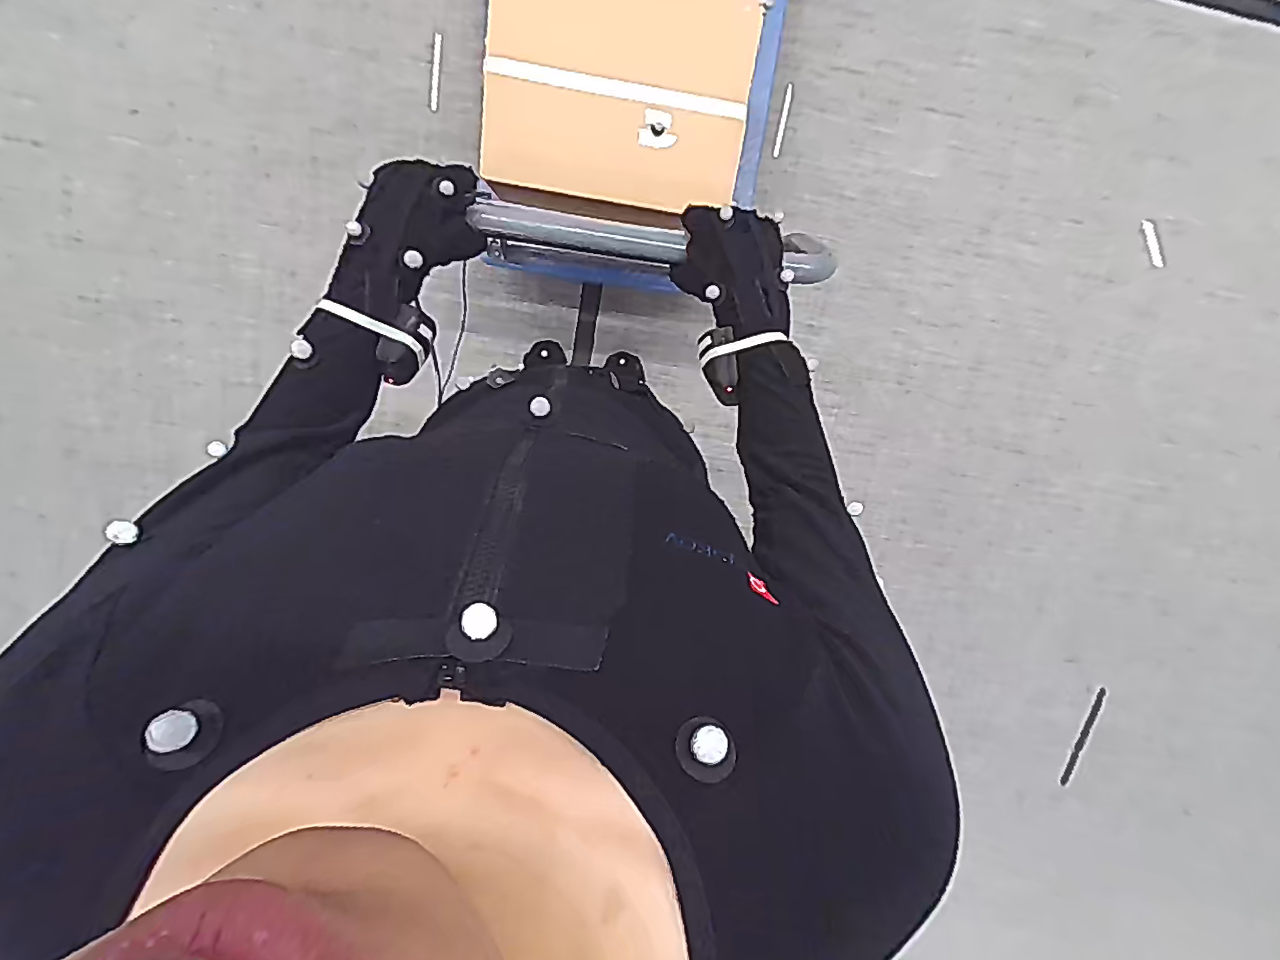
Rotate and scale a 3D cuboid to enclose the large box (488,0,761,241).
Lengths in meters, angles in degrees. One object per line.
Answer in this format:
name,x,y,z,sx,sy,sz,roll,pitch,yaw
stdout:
large box,-0.042,-0.649,0.985,0.408,0.320,0.320,7,106,-6
